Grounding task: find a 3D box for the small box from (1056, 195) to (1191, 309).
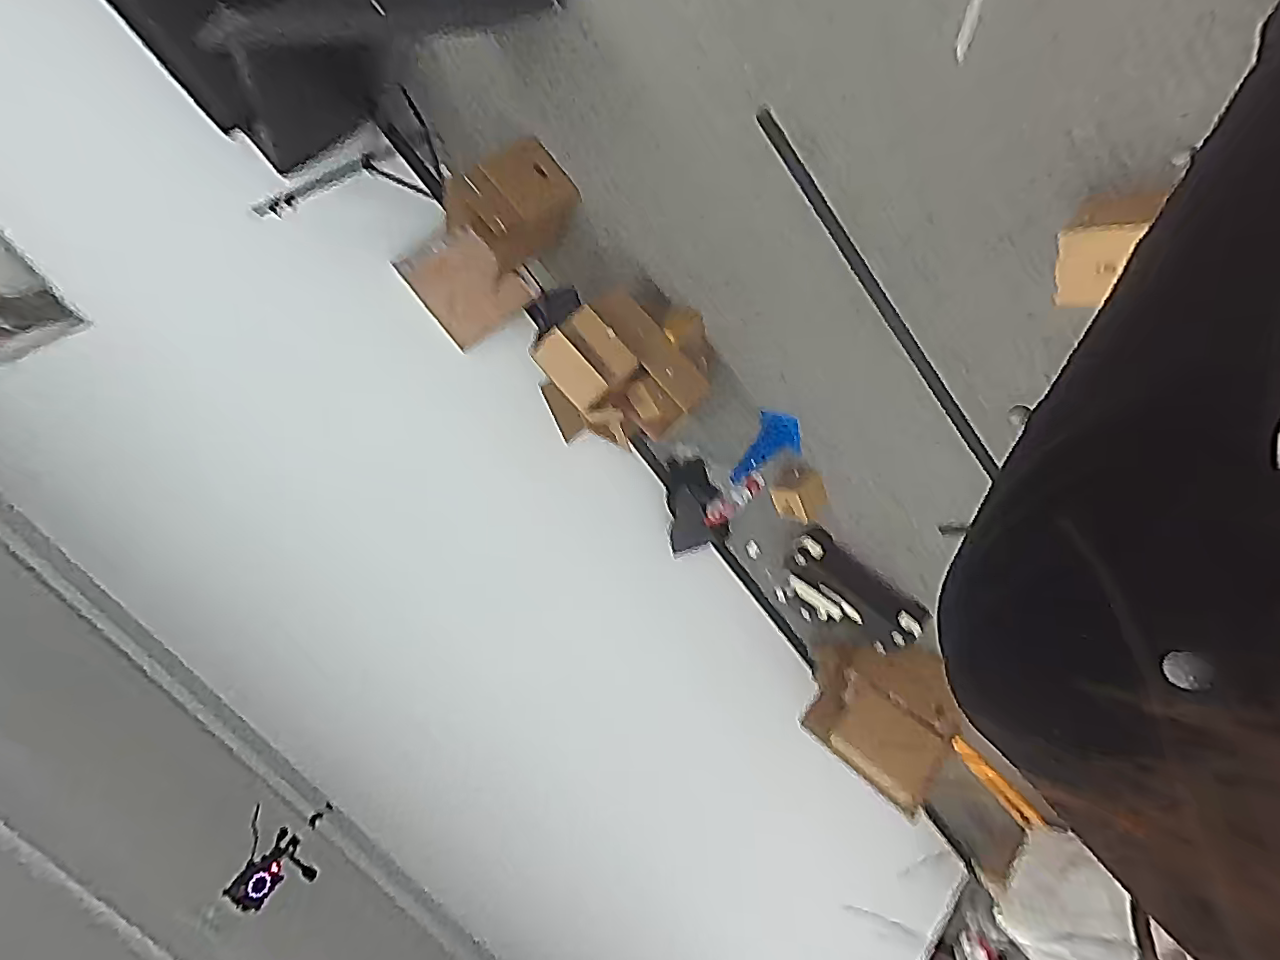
[{"bbox_3d":[1.019,-0.480,1.144,0.179,0.176,0.168,20,144,48],"label":"small box"}]
